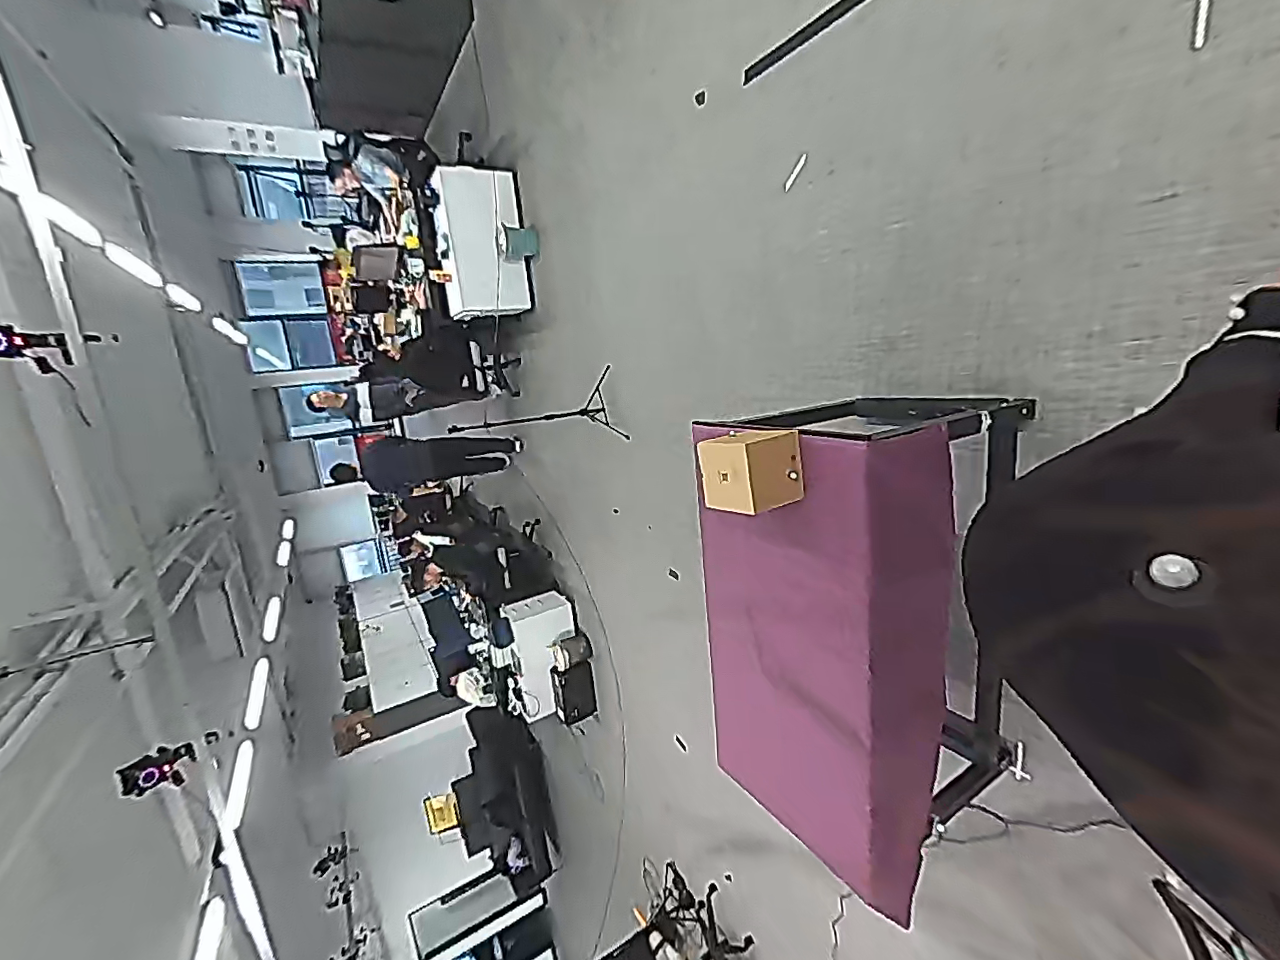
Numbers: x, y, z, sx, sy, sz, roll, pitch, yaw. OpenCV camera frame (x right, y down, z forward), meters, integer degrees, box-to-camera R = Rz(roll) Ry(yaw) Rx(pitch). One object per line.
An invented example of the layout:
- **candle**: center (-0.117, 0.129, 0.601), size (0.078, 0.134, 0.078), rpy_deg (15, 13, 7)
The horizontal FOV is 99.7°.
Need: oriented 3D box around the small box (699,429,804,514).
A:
- **small box**: center (0.268, -0.027, 1.299), size (0.179, 0.176, 0.168), rpy_deg (9, 111, 60)
